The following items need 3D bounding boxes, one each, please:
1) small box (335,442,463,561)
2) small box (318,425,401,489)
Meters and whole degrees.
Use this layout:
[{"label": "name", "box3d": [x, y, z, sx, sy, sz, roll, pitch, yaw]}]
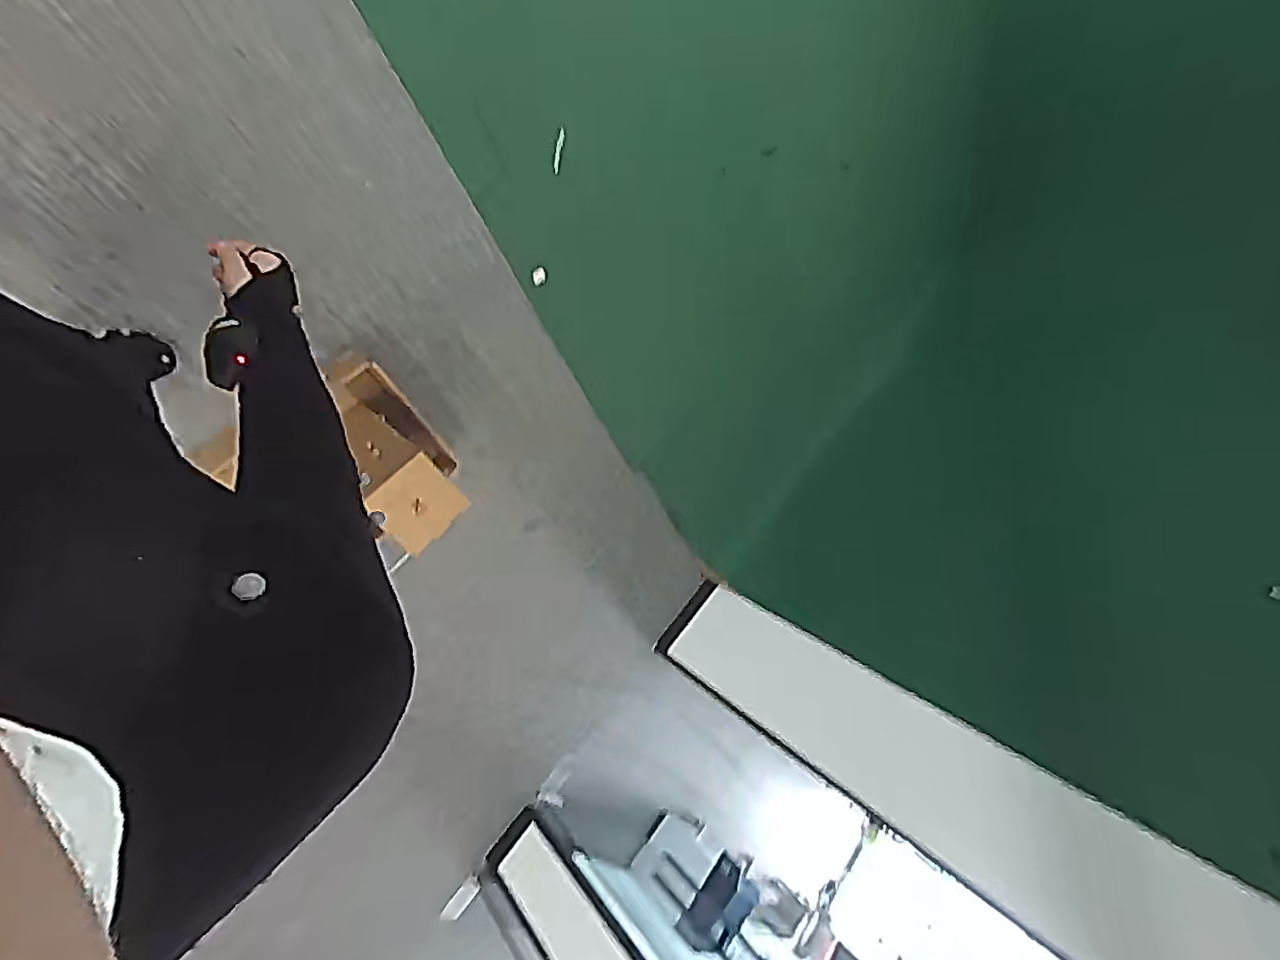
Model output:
[{"label": "small box", "box3d": [-0.535, 0.041, 1.203, 0.168, 0.176, 0.179, -46, 132, -19]}, {"label": "small box", "box3d": [-0.640, -0.009, 1.317, 0.168, 0.176, 0.179, -46, 134, -19]}]
